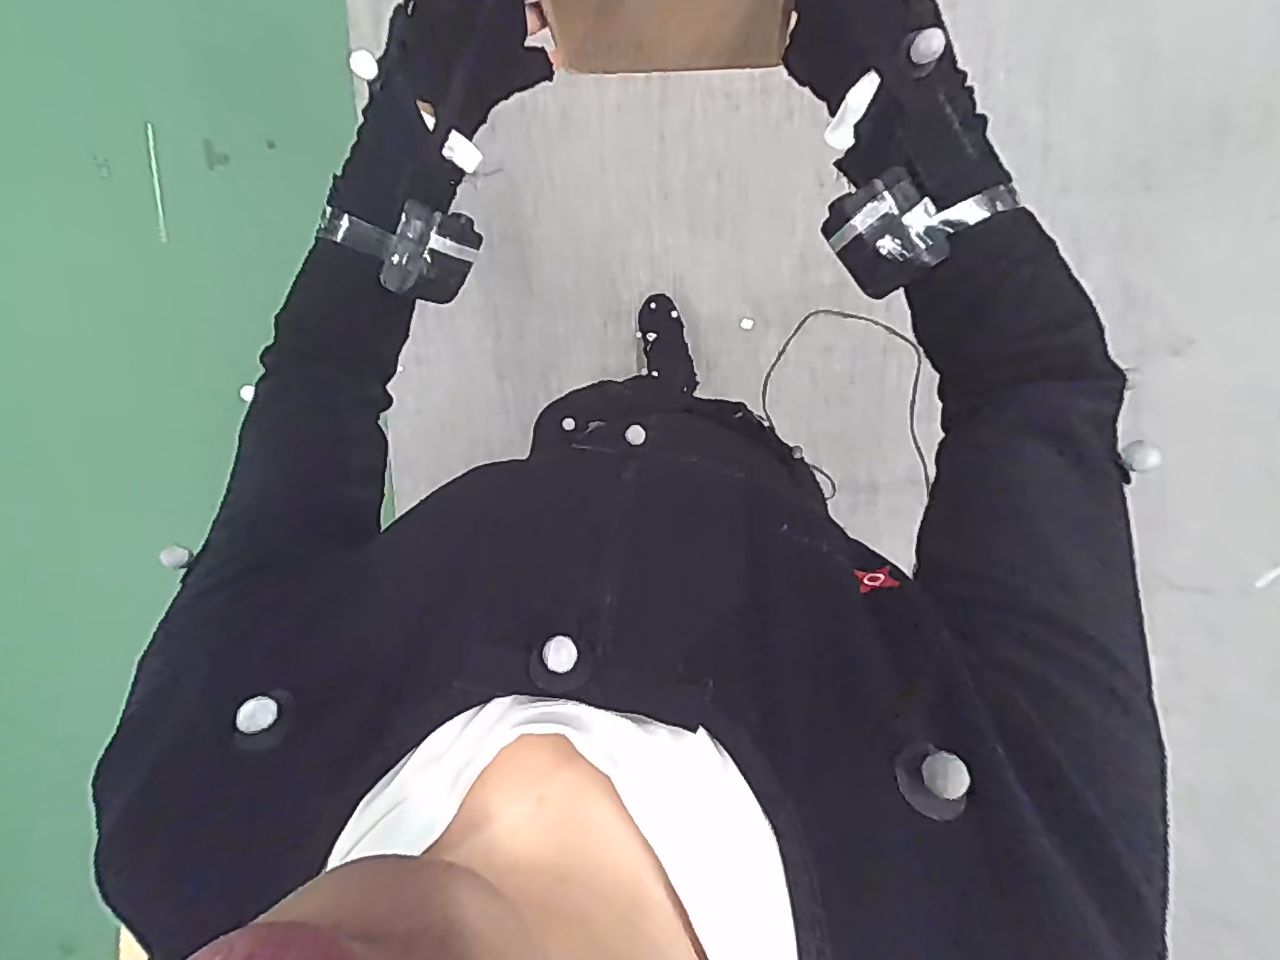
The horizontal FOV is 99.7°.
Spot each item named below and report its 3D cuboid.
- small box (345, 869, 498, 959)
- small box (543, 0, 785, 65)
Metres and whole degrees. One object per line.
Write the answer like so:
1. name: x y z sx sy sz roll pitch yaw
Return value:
1. small box: -0.328 0.742 0.823 0.168 0.176 0.179 2 102 10
2. small box: 0.015 -0.406 0.346 0.179 0.176 0.168 3 95 8
